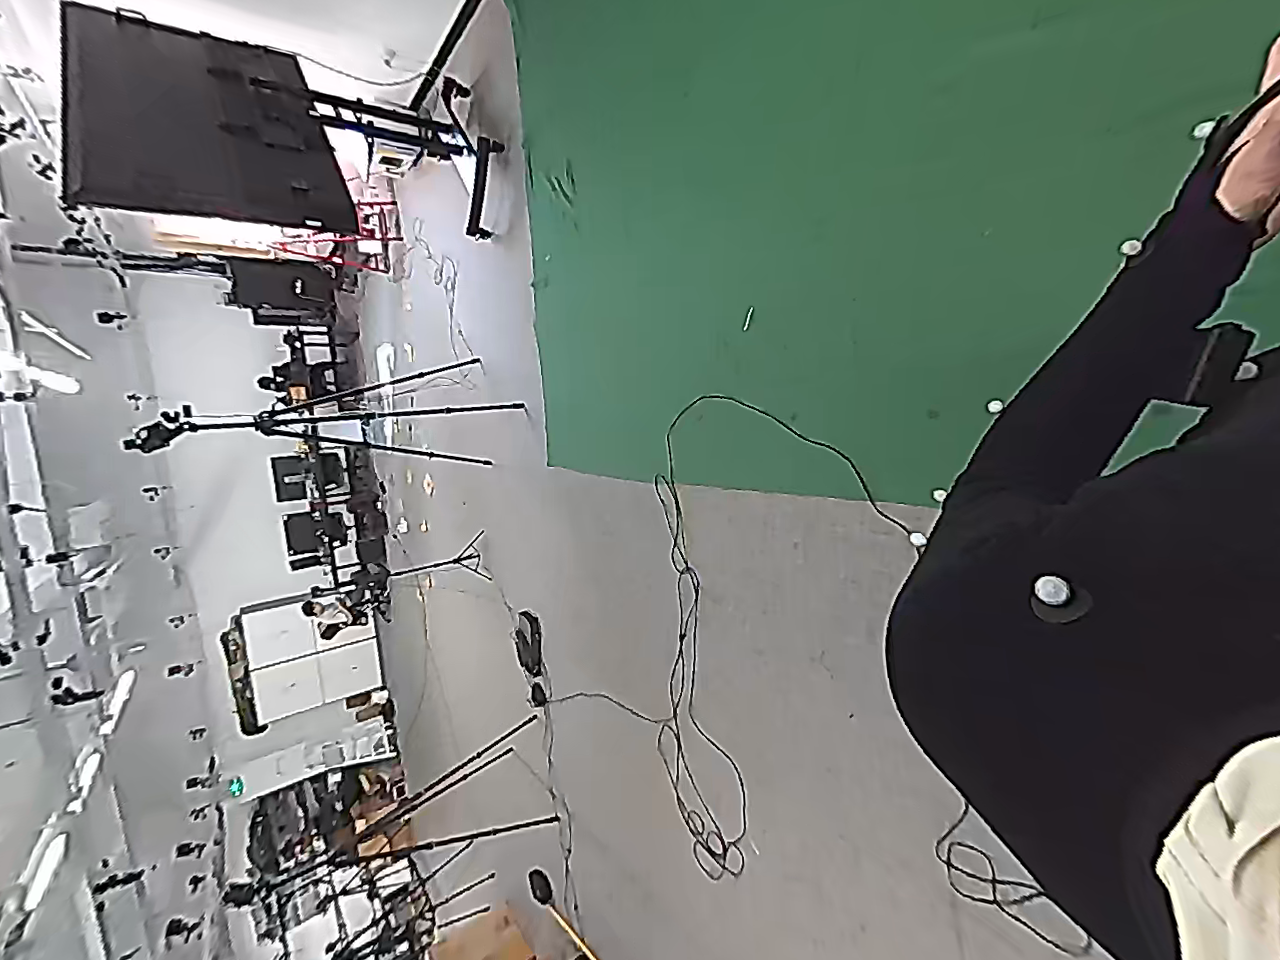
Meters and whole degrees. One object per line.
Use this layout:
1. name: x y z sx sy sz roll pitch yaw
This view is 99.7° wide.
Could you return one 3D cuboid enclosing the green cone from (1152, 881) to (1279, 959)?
1. green cone: 1.179 1.081 1.137 0.202 0.368 0.200 8 103 53
